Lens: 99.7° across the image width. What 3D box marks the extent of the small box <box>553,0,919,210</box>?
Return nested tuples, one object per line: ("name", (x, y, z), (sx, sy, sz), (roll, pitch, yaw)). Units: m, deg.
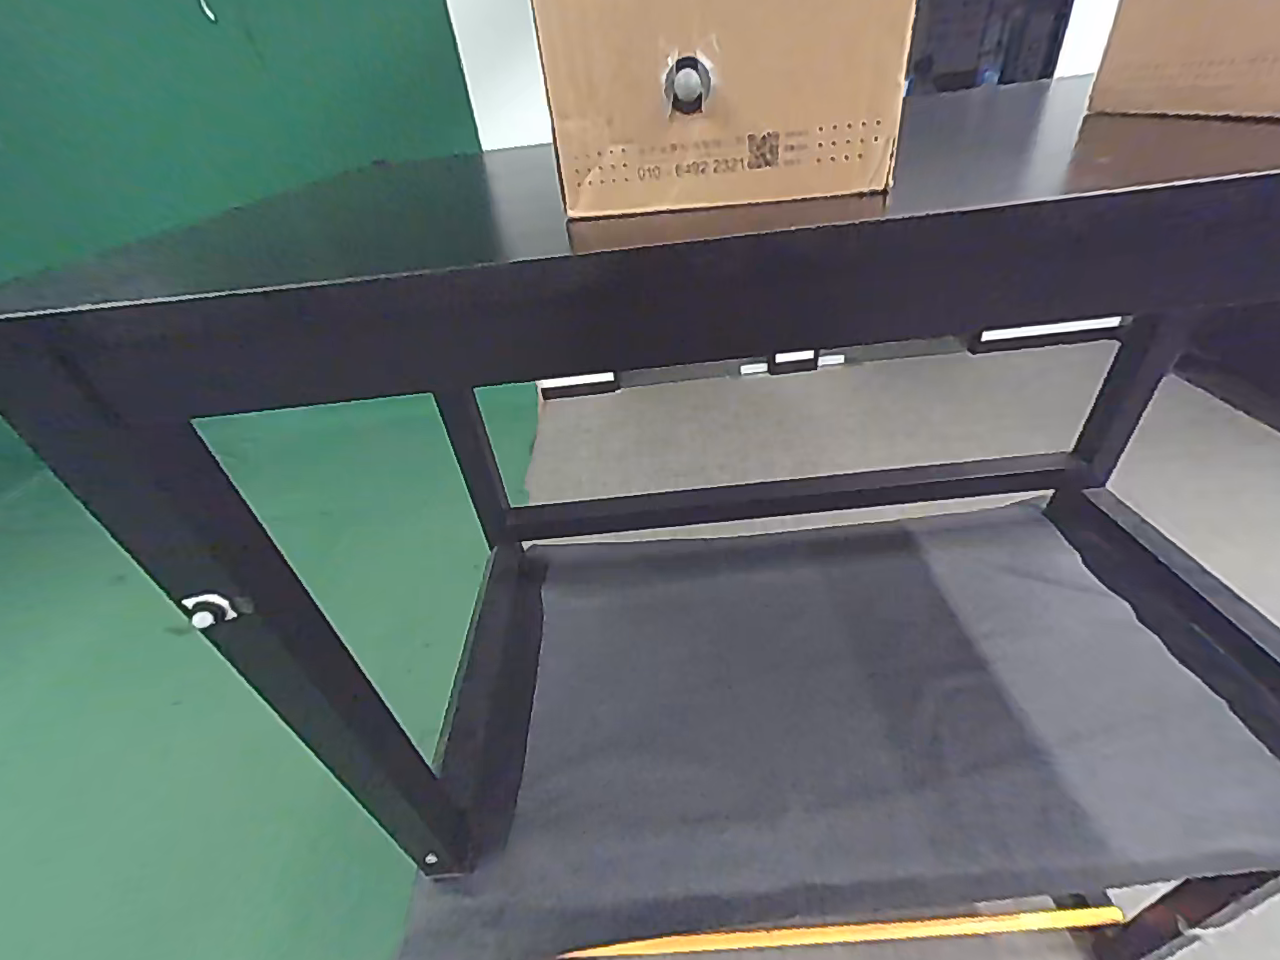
("small box", (0.048, -0.259, 0.302), (0.168, 0.176, 0.179), (0, 37, 9))
